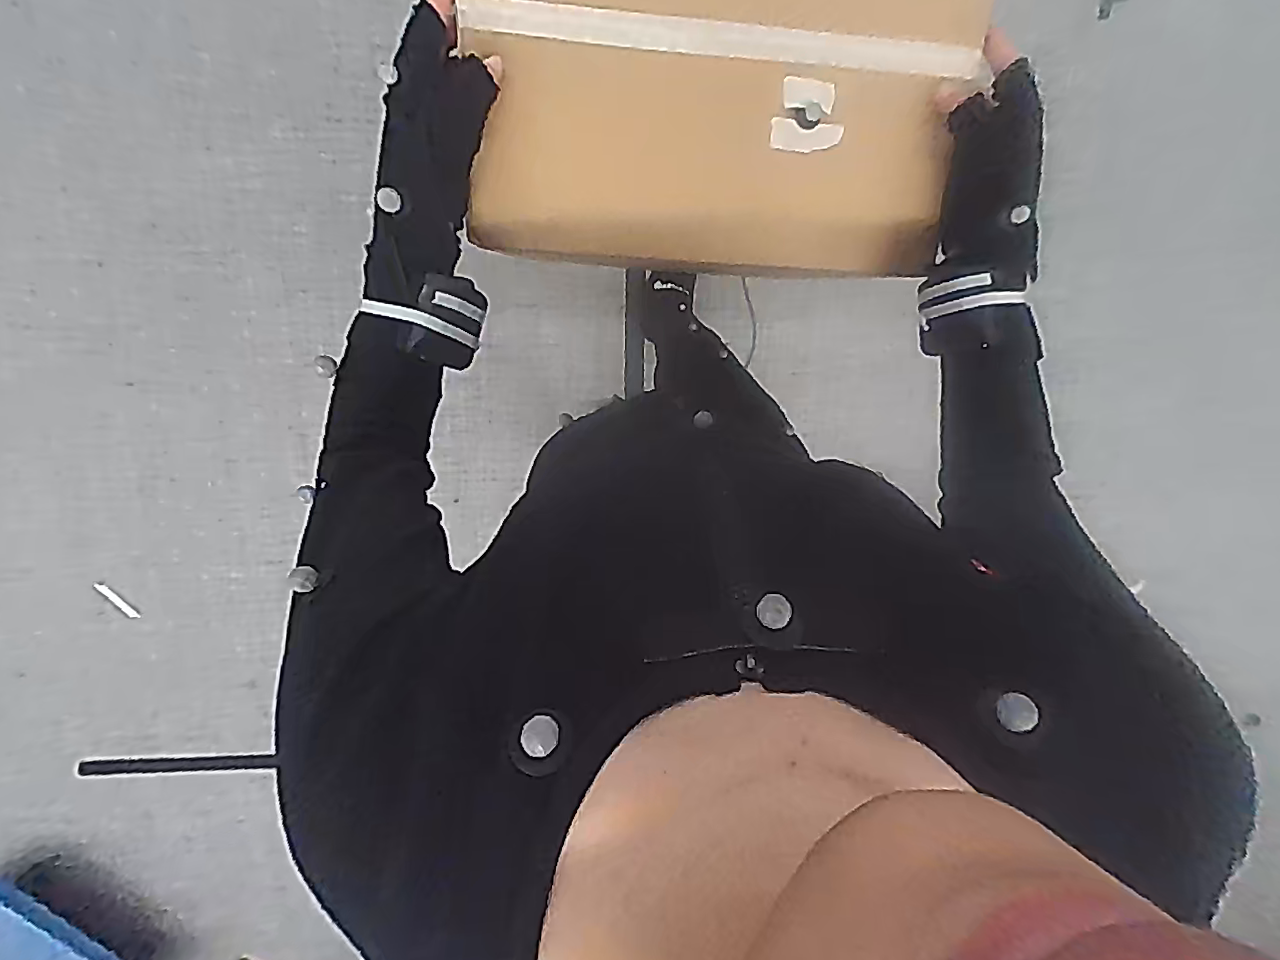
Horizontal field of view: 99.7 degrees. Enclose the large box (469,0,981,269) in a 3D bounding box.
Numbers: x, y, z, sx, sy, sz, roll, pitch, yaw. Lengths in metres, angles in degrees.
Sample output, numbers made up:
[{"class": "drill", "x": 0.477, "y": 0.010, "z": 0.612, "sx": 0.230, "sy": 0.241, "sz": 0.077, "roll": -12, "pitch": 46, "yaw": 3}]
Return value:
[{"class": "large box", "x": 0.053, "y": -0.395, "z": 0.558, "sx": 0.408, "sy": 0.320, "sz": 0.320, "roll": 1, "pitch": 110, "yaw": -7}]
